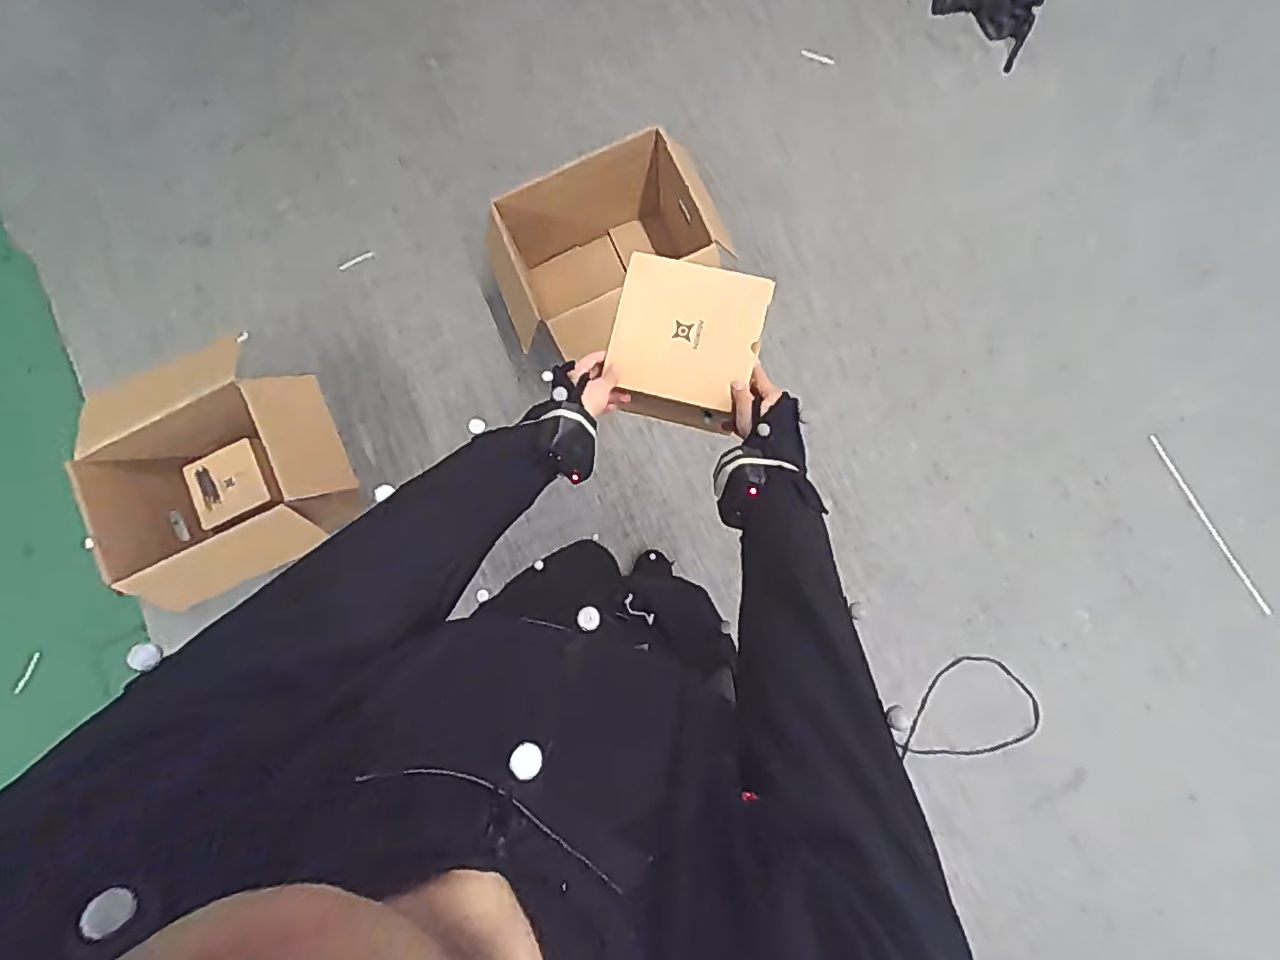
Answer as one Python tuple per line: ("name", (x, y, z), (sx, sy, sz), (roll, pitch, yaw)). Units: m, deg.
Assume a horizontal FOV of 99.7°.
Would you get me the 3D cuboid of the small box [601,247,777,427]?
("small box", (0.062, -0.174, 0.708), (0.179, 0.176, 0.168), (14, 88, 5))
